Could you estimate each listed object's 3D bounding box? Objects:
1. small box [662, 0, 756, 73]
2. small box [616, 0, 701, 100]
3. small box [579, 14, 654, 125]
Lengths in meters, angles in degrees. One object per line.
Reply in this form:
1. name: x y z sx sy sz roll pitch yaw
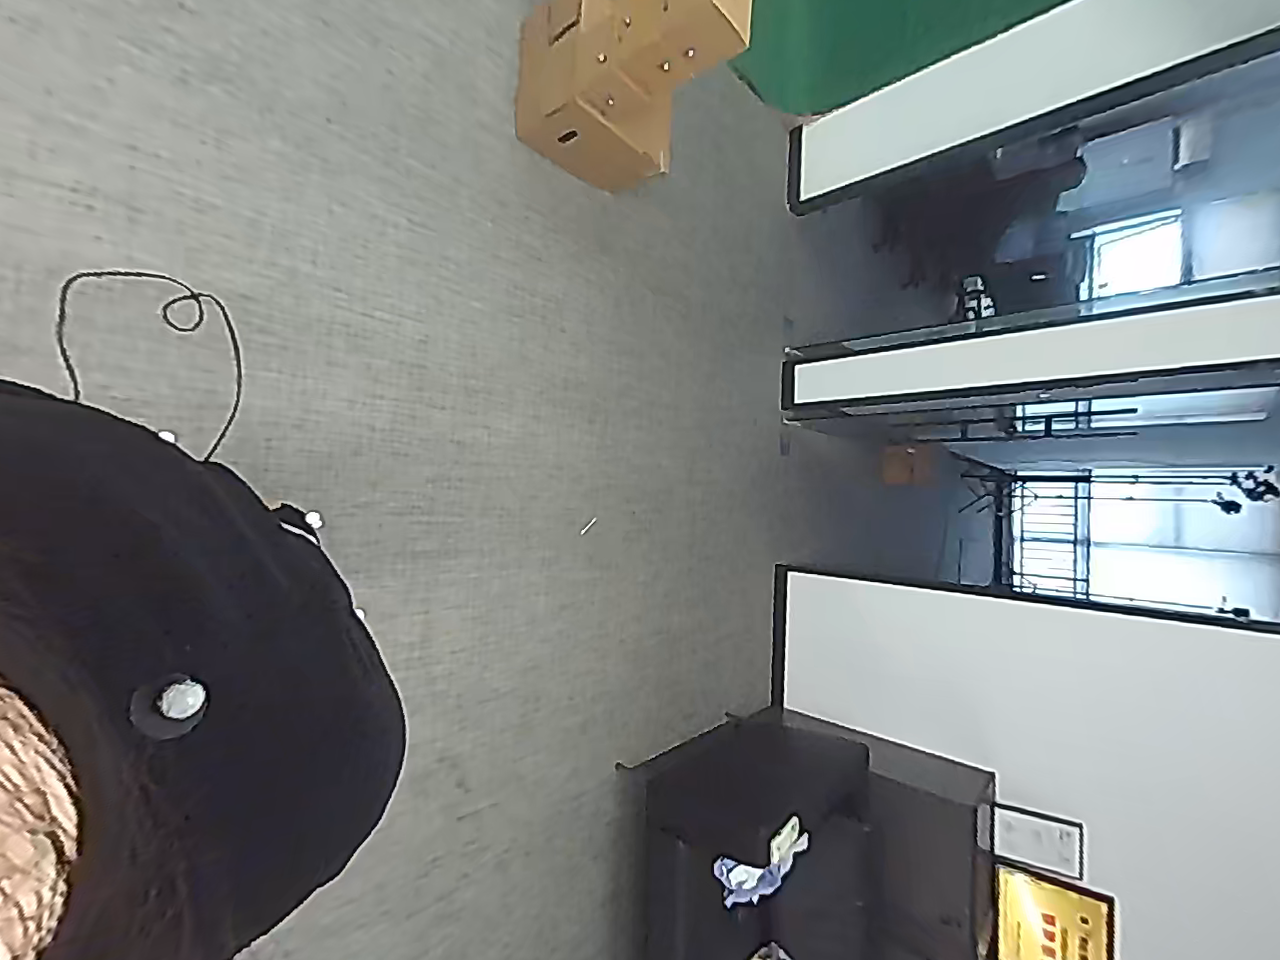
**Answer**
1. small box: 0.179 -1.203 1.396 0.179 0.176 0.168 7 86 -48
2. small box: 0.058 -1.207 1.507 0.179 0.176 0.168 7 87 -47
3. small box: -0.066 -1.210 1.613 0.168 0.176 0.179 7 87 -49
